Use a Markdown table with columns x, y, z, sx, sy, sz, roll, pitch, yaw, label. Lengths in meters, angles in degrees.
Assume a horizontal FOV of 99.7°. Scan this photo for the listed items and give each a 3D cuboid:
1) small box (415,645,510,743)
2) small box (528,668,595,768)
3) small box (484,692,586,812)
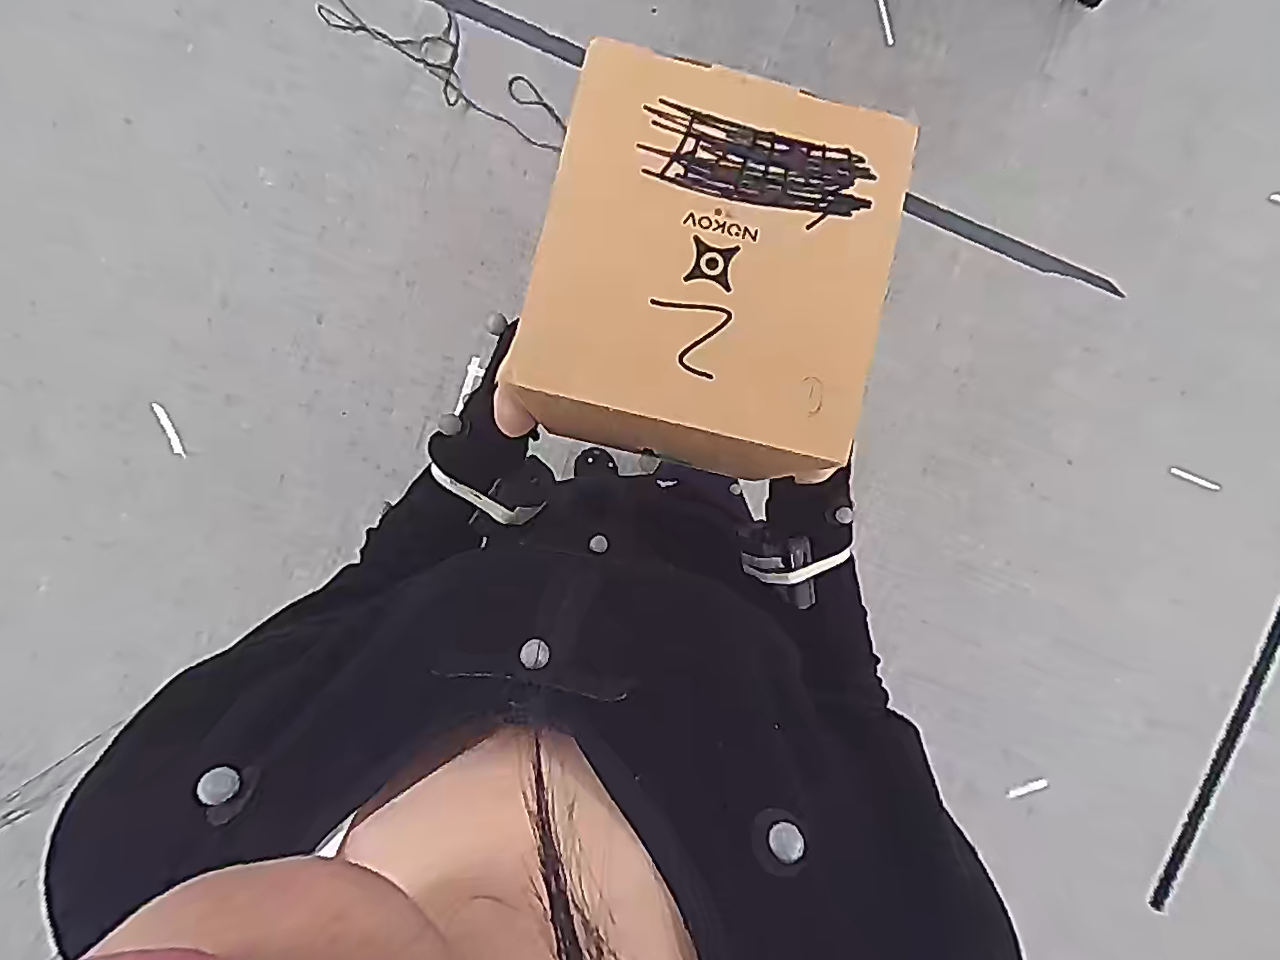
| x | y | z | sx | sy | sz | roll | pitch | yaw | label |
| --- | --- | --- | --- | --- | --- | --- | --- | --- | --- |
| -0.454 | 0.546 | 1.406 | 0.179 | 0.176 | 0.168 | 14 | 93 | -4 | small box |
| -0.219 | 0.615 | 1.417 | 0.179 | 0.176 | 0.168 | 14 | 92 | -4 | small box |
| -0.234 | 0.617 | 1.251 | 0.179 | 0.176 | 0.168 | 18 | 93 | -4 | small box |
